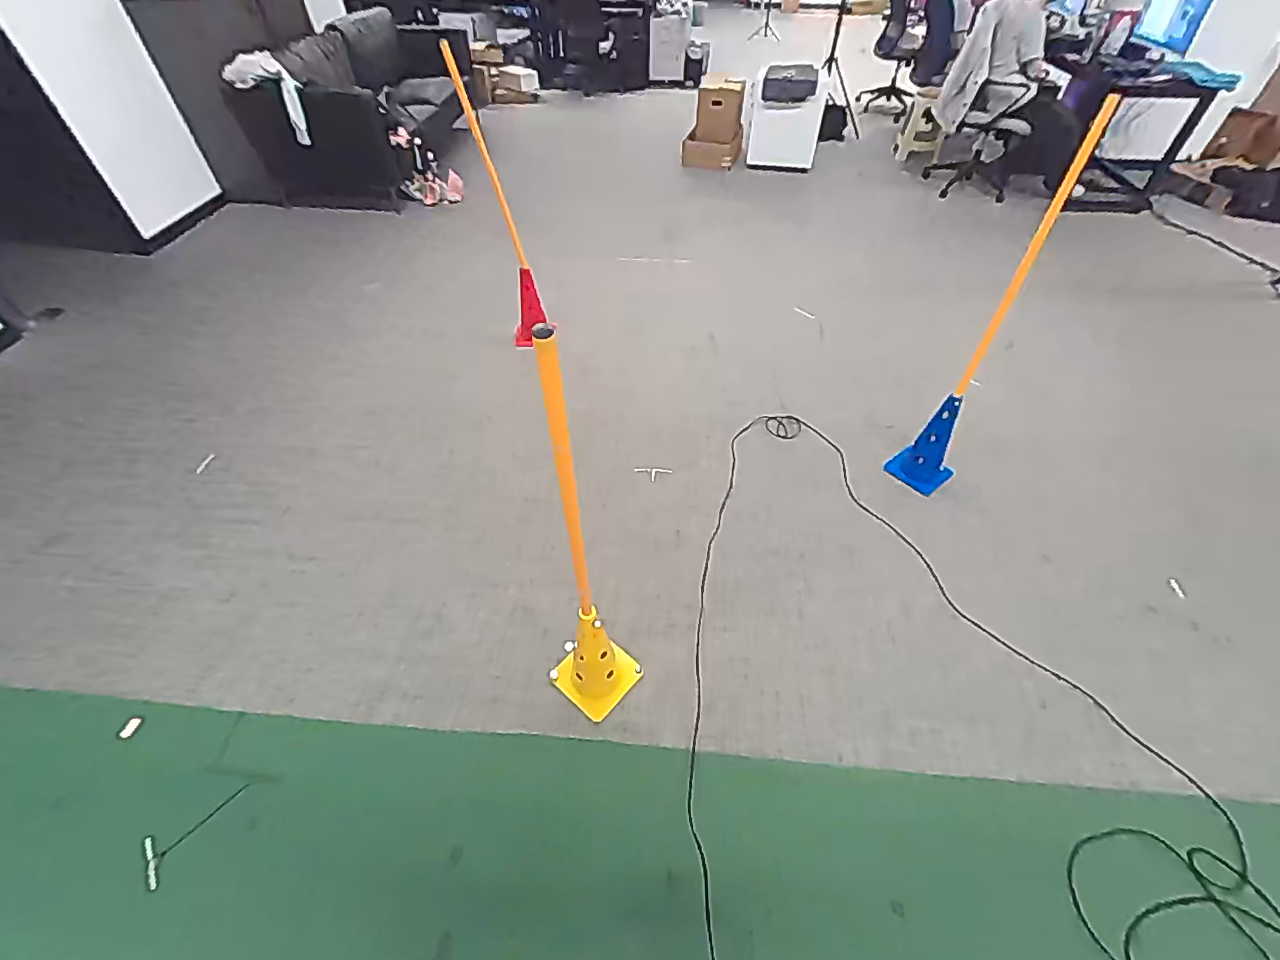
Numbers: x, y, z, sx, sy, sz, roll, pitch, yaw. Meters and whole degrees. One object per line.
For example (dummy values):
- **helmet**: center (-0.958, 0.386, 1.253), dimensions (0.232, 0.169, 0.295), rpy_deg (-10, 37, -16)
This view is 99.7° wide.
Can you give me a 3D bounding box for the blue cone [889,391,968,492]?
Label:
- **blue cone**: center (1.071, -0.160, 1.946), dimensions (0.193, 0.380, 0.192), rpy_deg (-31, 54, -28)
